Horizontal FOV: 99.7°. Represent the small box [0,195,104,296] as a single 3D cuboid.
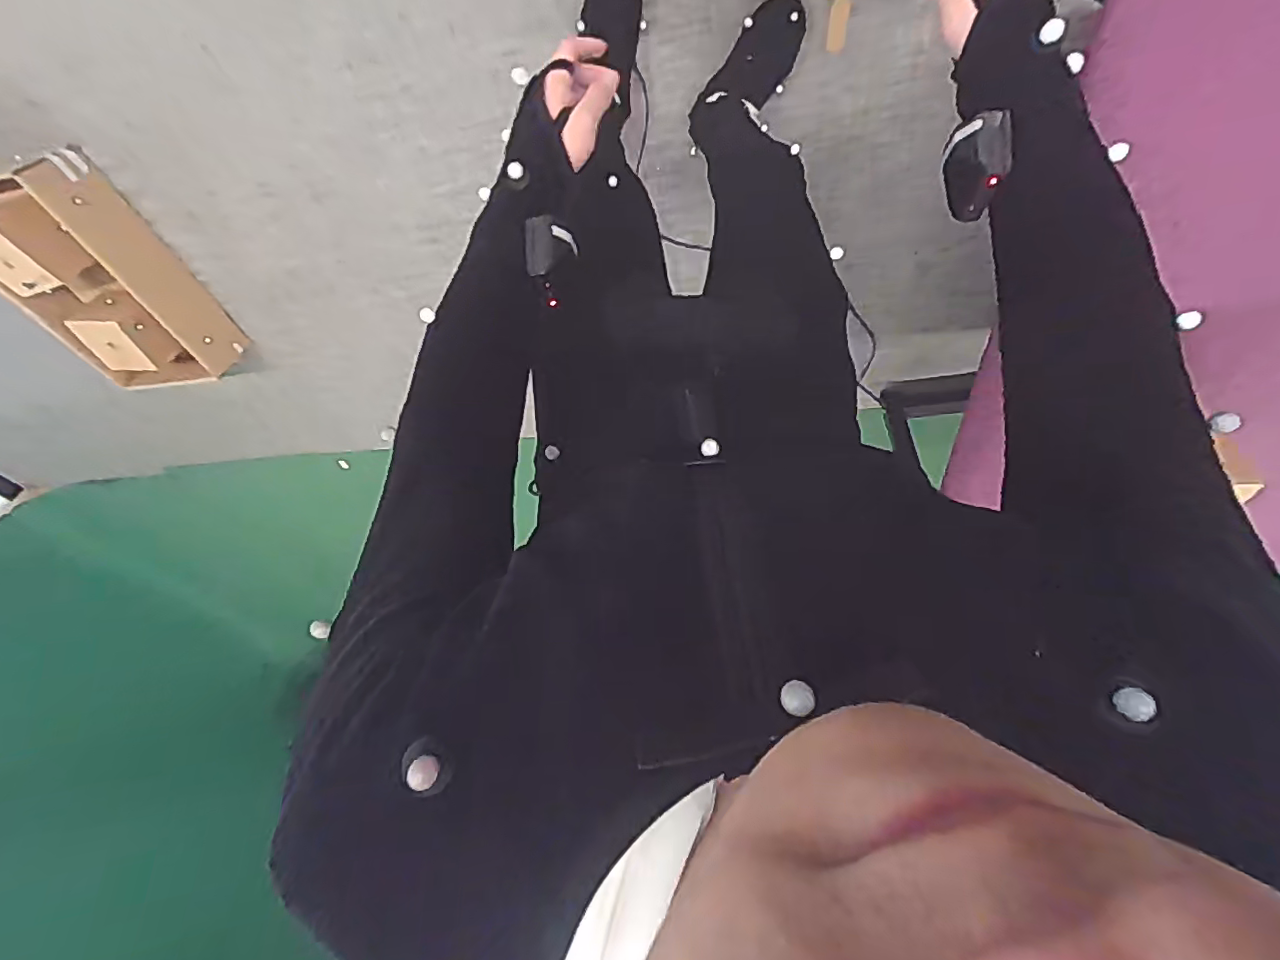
[{"bbox_3d":[-1.591,-0.618,1.412,0.168,0.176,0.179,-7,140,15],"label":"small box"}]
